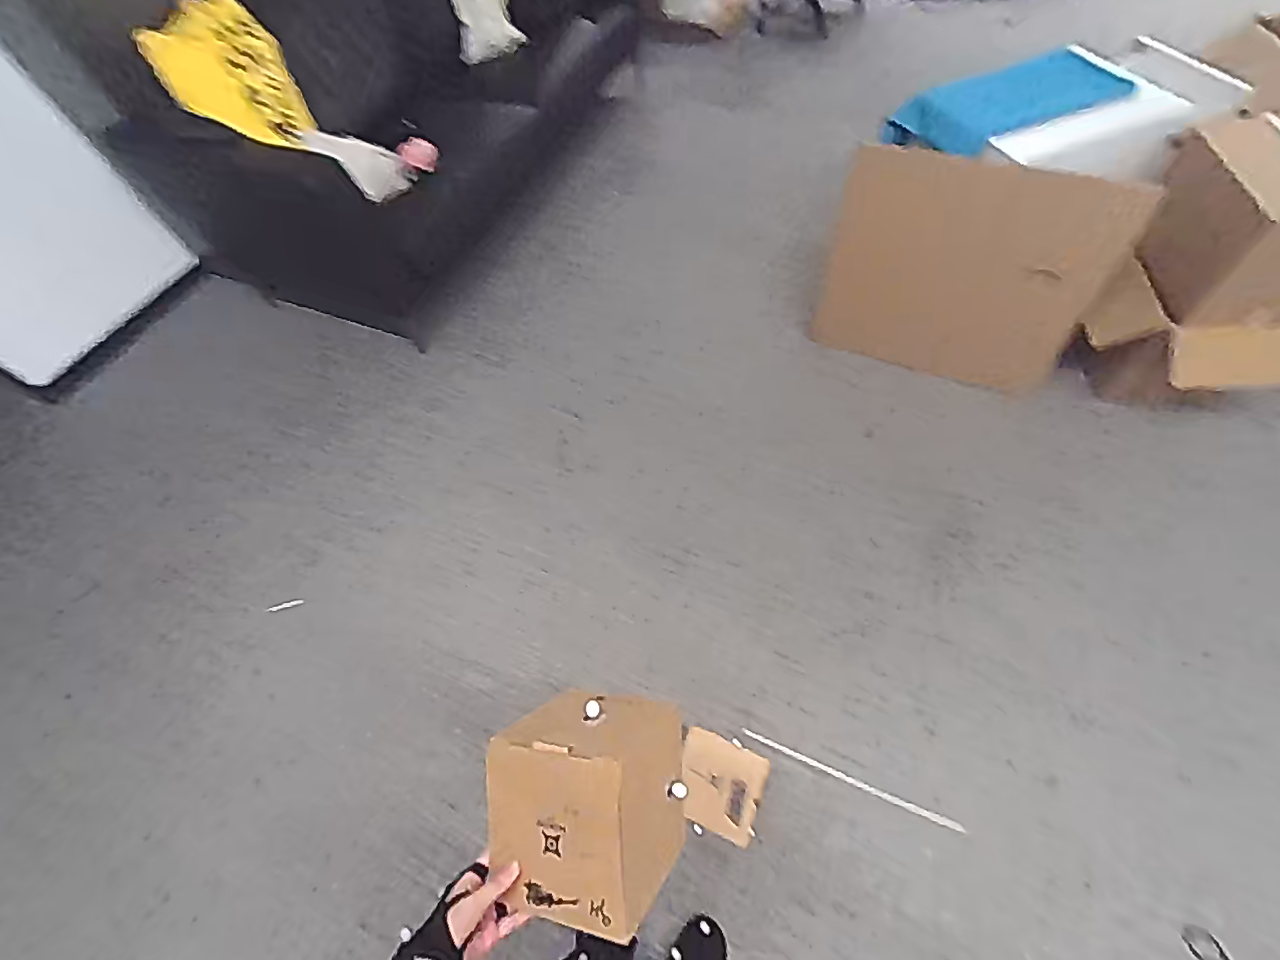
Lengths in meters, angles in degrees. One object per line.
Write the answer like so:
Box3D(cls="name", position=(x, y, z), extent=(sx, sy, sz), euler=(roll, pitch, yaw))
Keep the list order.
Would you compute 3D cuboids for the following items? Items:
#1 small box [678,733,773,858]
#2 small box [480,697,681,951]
Box3D(cls="small box", position=(0.165, 0.661, 1.140), extent=(0.179, 0.176, 0.168), euler=(18, 61, 18))
Box3D(cls="small box", position=(-0.060, 0.363, 0.615), extent=(0.168, 0.176, 0.179), euler=(-5, 86, 25))
